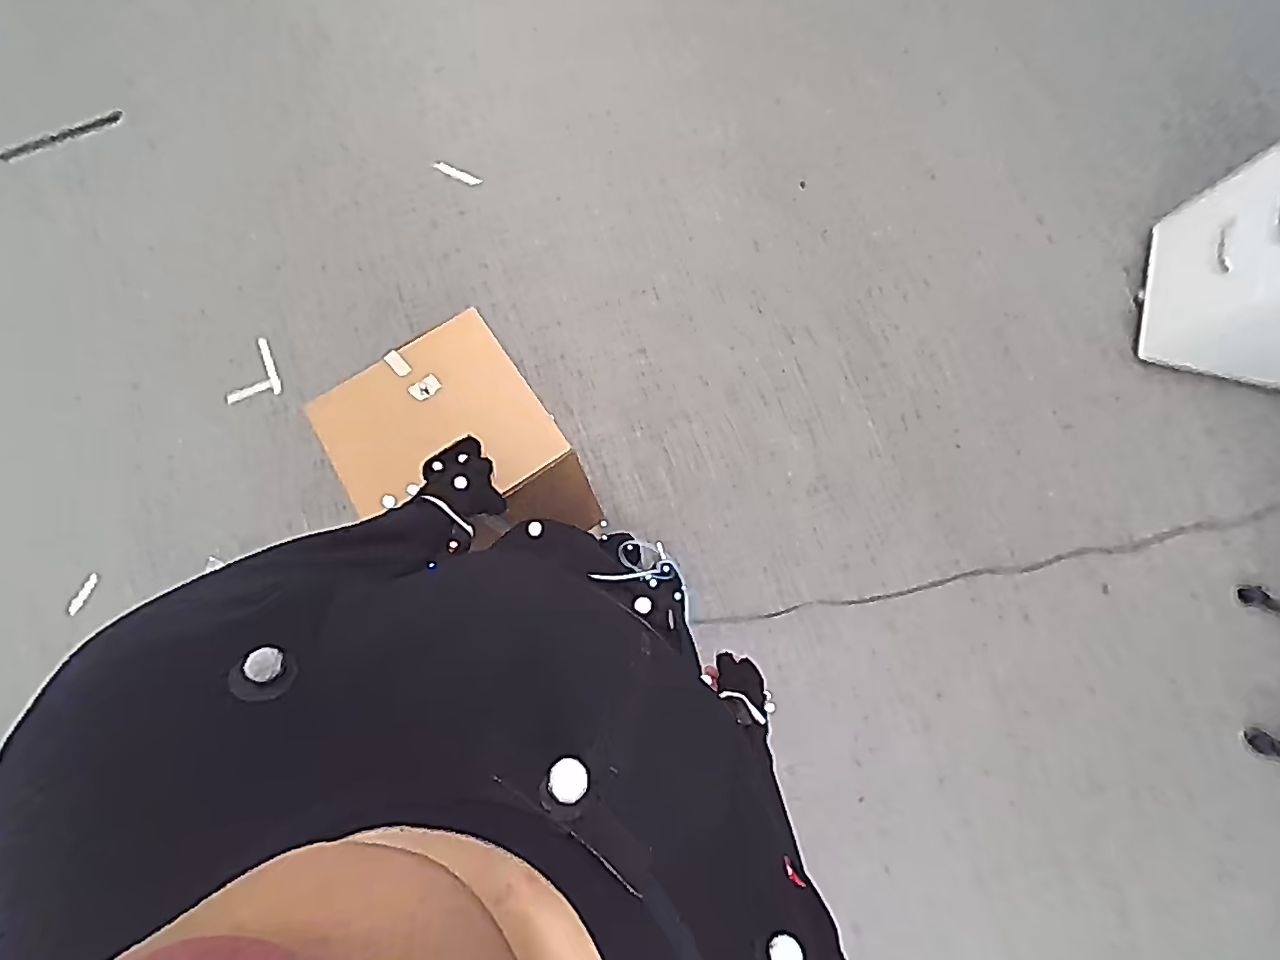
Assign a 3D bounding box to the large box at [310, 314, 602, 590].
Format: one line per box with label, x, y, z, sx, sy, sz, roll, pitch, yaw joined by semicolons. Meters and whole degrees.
large box;-0.306;-0.024;1.015;0.320;0.408;0.320;-33;73;-6
